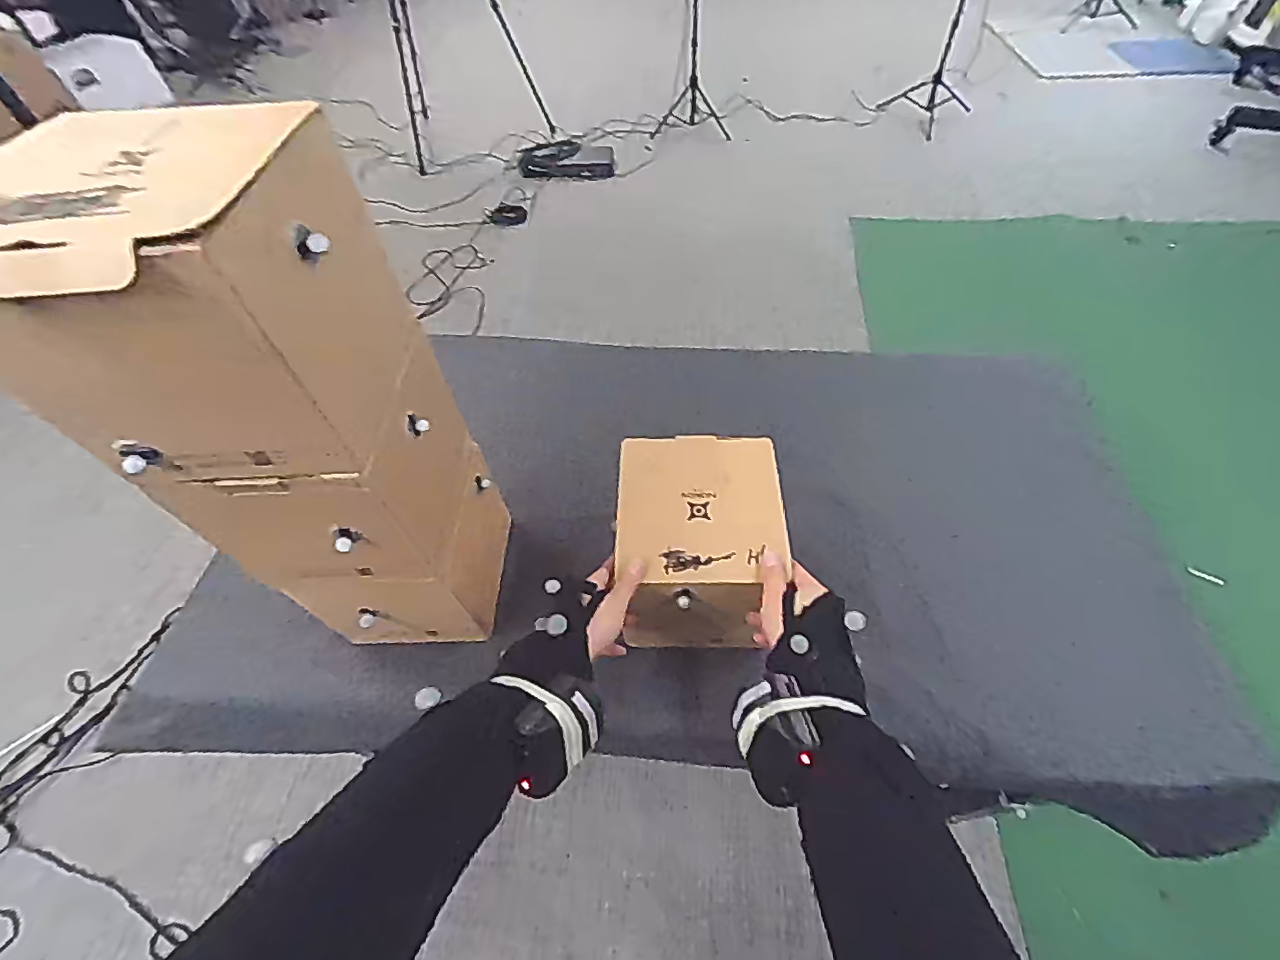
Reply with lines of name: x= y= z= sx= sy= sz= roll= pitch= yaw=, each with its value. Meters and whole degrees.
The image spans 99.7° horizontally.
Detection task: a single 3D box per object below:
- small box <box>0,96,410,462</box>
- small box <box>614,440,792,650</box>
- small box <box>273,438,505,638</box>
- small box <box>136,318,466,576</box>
small box: x=-0.274 y=-0.123 z=0.358 sx=0.168 sy=0.176 sz=0.179 roll=-2 pitch=52 yaw=-1
small box: x=0.061 y=0.075 z=0.606 sx=0.168 sy=0.176 sz=0.179 roll=0 pitch=54 yaw=2
small box: x=-0.263 y=0.073 z=0.619 sx=0.168 sy=0.176 sz=0.179 roll=-1 pitch=53 yaw=1
small box: x=-0.270 y=-0.023 z=0.488 sx=0.168 sy=0.176 sz=0.179 roll=-1 pitch=52 yaw=0
